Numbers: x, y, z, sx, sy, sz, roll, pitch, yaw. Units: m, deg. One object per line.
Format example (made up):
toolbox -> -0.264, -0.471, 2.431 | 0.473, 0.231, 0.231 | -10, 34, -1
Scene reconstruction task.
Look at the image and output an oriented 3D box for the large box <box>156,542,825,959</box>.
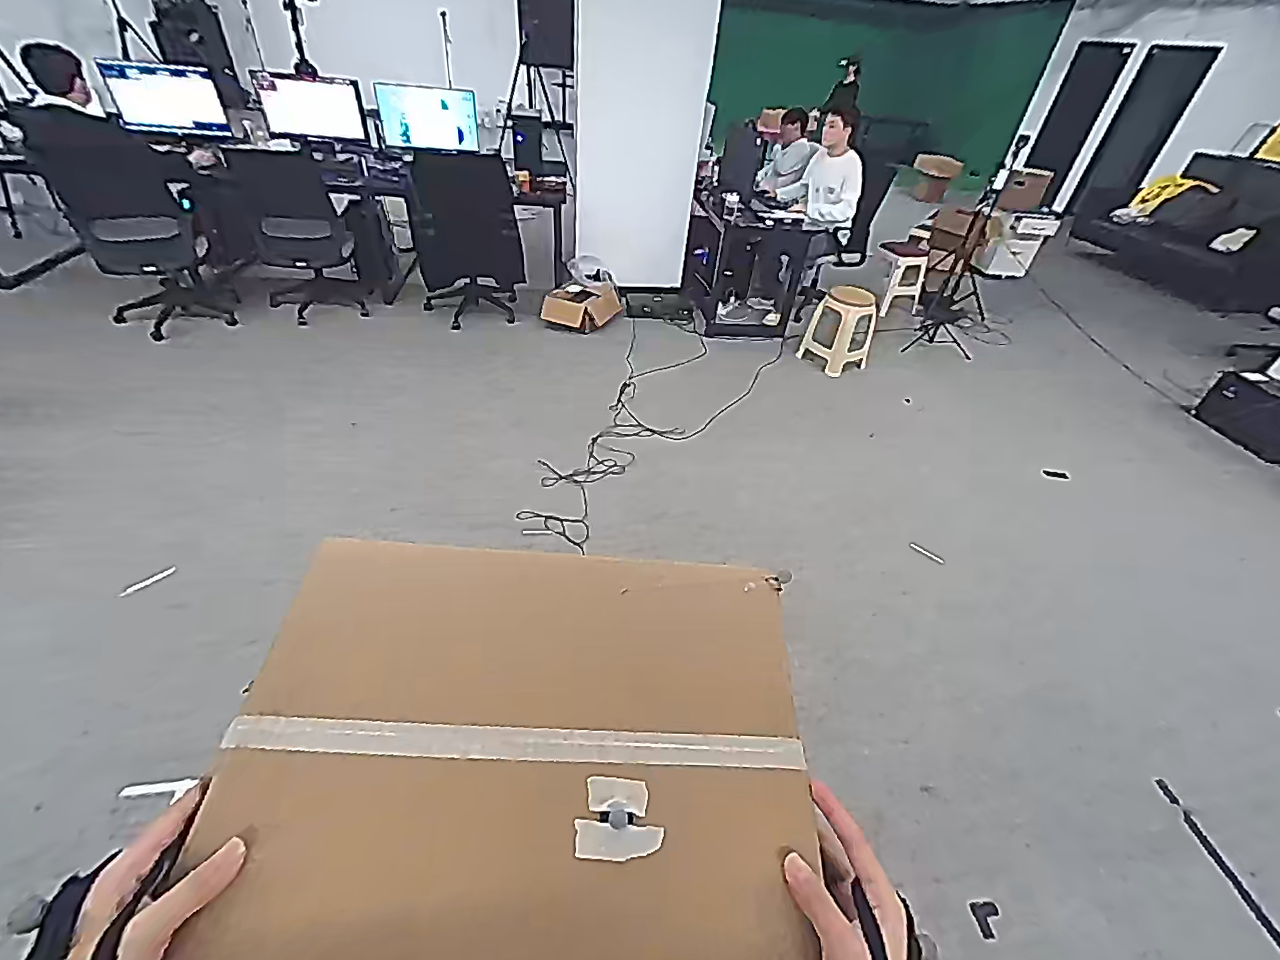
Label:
large box -> -0.096, 0.280, 0.519 | 0.408, 0.320, 0.320 | 5, 53, -4
